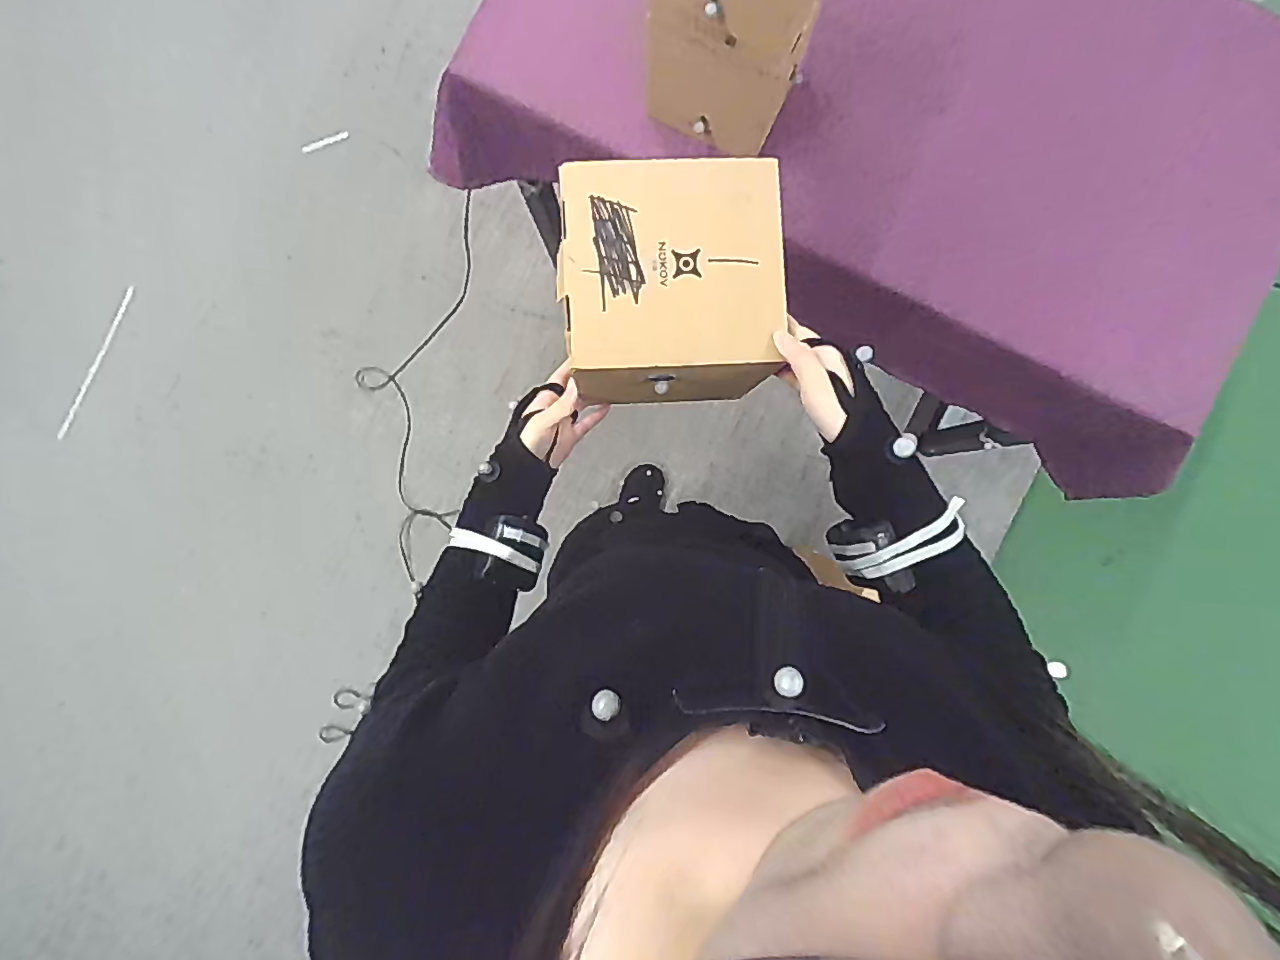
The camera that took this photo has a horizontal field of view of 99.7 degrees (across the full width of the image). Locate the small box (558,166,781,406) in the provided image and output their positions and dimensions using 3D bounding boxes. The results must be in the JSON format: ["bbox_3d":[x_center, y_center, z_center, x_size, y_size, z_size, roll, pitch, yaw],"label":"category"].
[{"bbox_3d":[0.020,-0.165,0.510,0.179,0.176,0.168,-2,88,-4],"label":"small box"}]

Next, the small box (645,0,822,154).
[{"bbox_3d":[0.118,-0.573,0.712,0.179,0.176,0.168,26,89,0],"label":"small box"}]

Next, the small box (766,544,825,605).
[{"bbox_3d":[0.457,0.280,1.422,0.179,0.176,0.168,31,90,0],"label":"small box"}]

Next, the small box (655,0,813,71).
[{"bbox_3d":[0.119,-0.581,0.547,0.168,0.176,0.179,27,90,2],"label":"small box"}]

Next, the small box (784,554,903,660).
[{"bbox_3d":[0.461,0.283,1.260,0.179,0.176,0.168,28,90,0],"label":"small box"}]
